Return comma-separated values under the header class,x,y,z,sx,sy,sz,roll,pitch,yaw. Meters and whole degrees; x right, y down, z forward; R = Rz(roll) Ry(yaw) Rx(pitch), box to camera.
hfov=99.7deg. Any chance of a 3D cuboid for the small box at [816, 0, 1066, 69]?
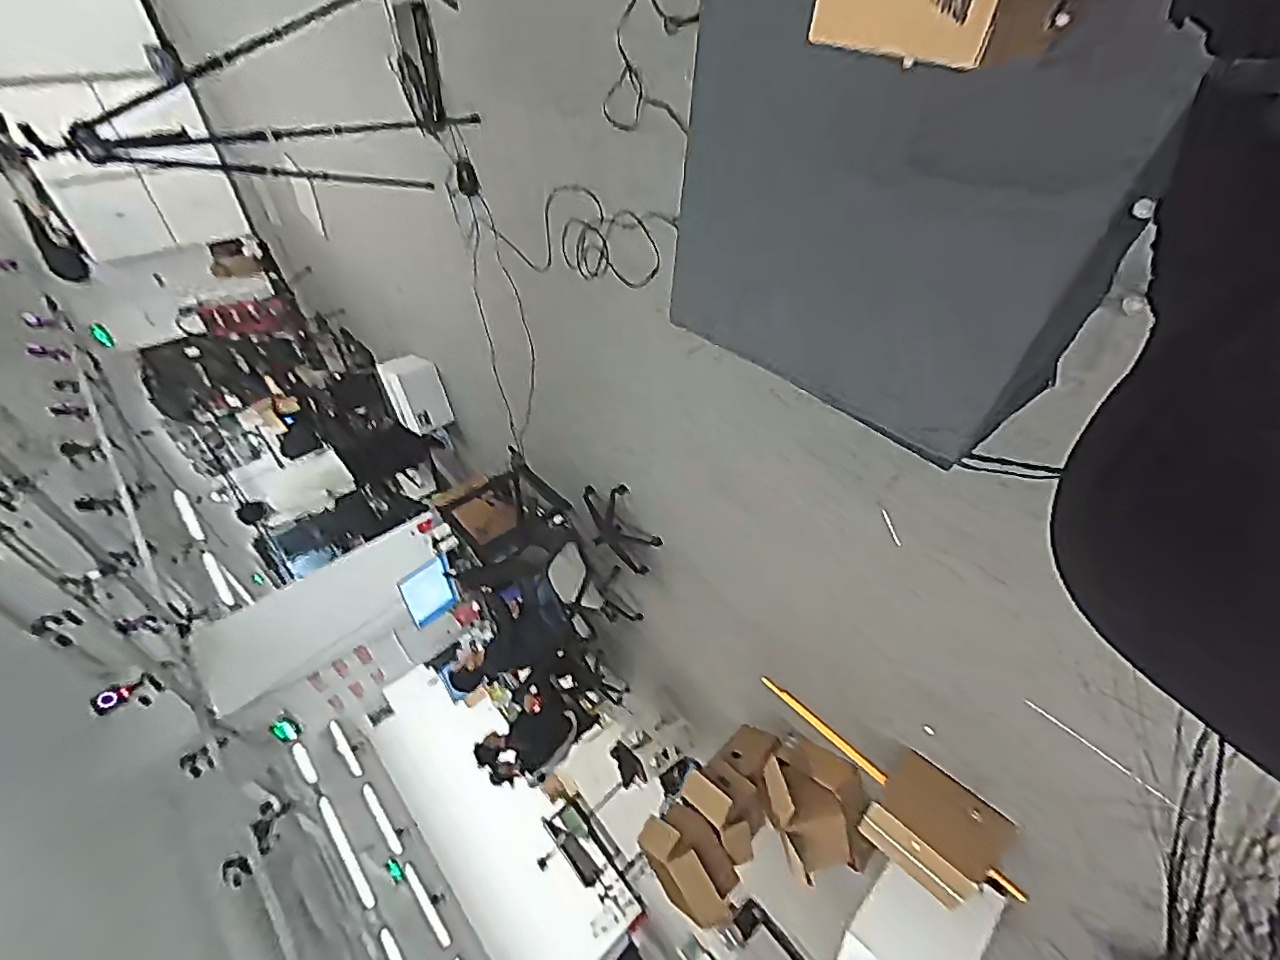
class,x,y,z,sx,sy,sz,roll,pitch,yaw
small box,0.301,-0.500,0.497,0.179,0.176,0.168,40,145,31
